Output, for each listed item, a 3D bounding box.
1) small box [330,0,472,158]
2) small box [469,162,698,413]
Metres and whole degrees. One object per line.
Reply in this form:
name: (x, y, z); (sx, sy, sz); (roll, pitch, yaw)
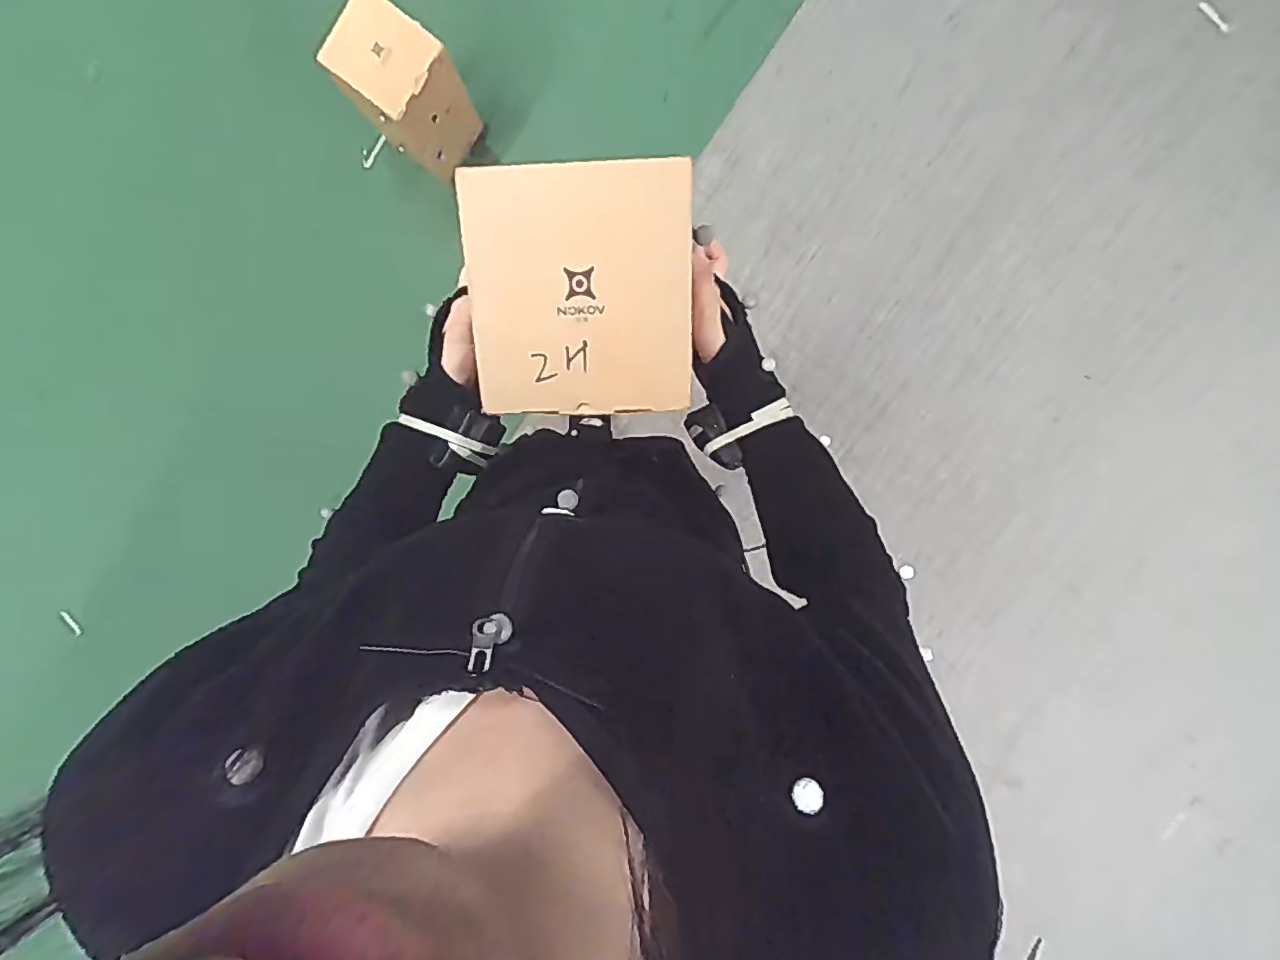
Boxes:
small box: (-0.476, -0.802, 1.102); (0.179, 0.176, 0.168); (34, 96, -7)
small box: (-0.035, -0.160, 0.478); (0.168, 0.176, 0.179); (1, 108, 5)
